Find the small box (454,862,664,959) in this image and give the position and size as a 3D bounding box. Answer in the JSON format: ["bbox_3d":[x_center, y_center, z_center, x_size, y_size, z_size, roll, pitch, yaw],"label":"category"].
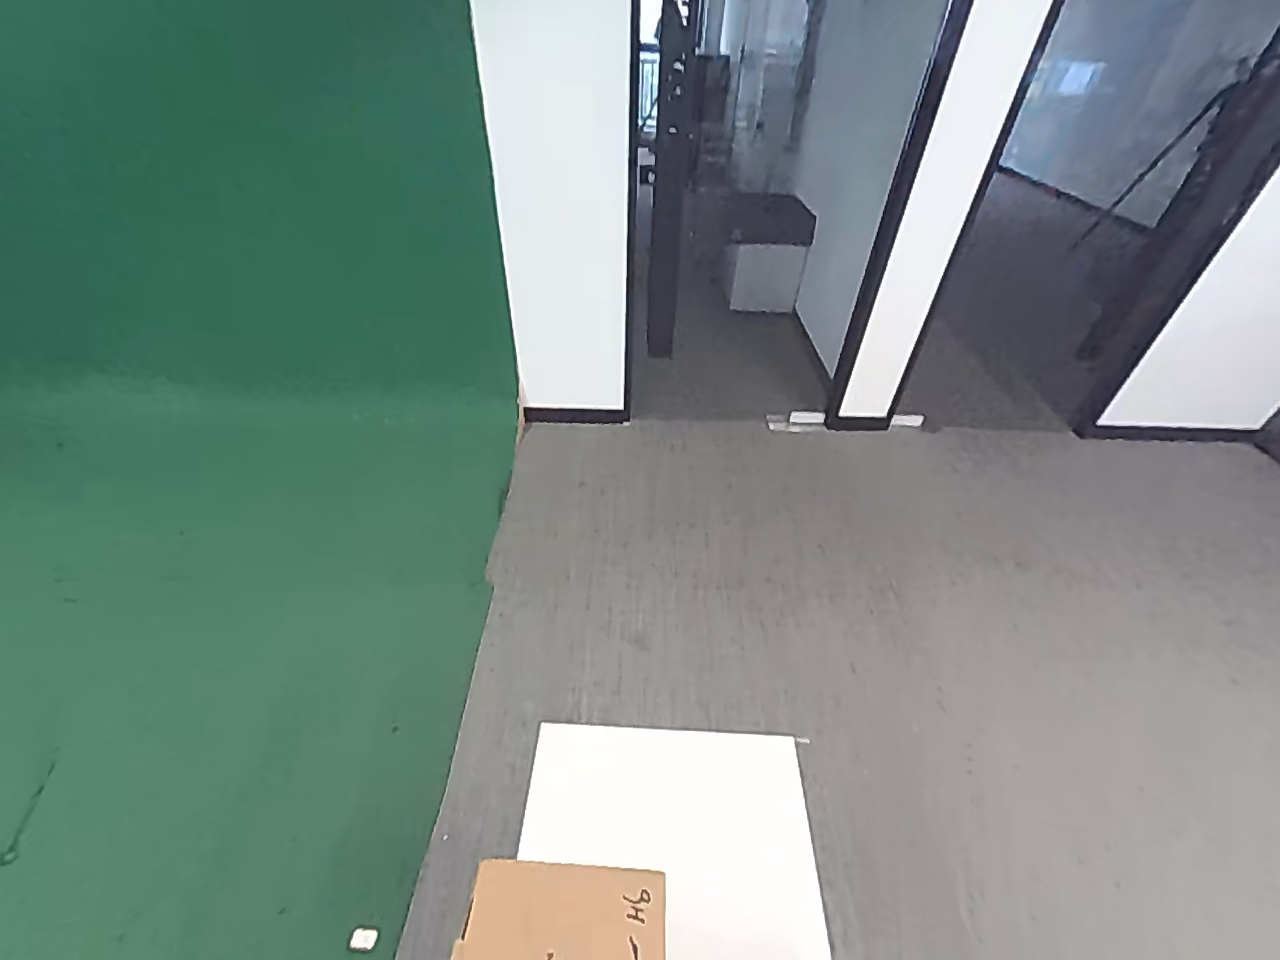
[{"bbox_3d":[-0.069,0.471,0.482,0.179,0.176,0.168,2,36,1],"label":"small box"}]
